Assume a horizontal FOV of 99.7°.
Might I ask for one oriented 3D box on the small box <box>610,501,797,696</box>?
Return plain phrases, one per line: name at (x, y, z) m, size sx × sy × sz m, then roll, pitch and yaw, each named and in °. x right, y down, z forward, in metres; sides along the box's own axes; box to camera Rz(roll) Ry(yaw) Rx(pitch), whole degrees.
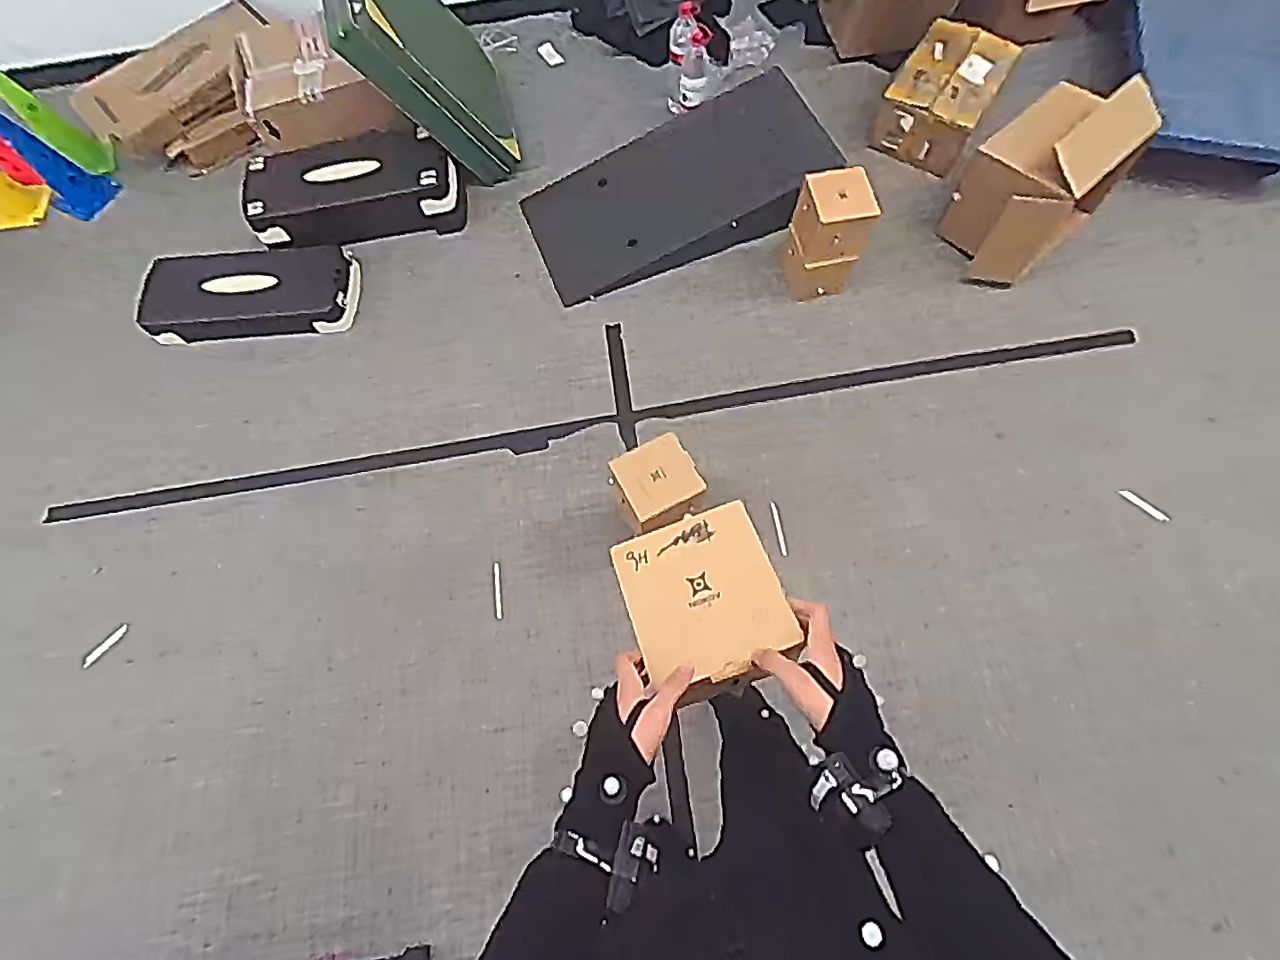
small box at (0.079, 0.156, 0.667) m, size 0.168 × 0.176 × 0.179 m, roll -20°, pitch 62°, yaw 1°
